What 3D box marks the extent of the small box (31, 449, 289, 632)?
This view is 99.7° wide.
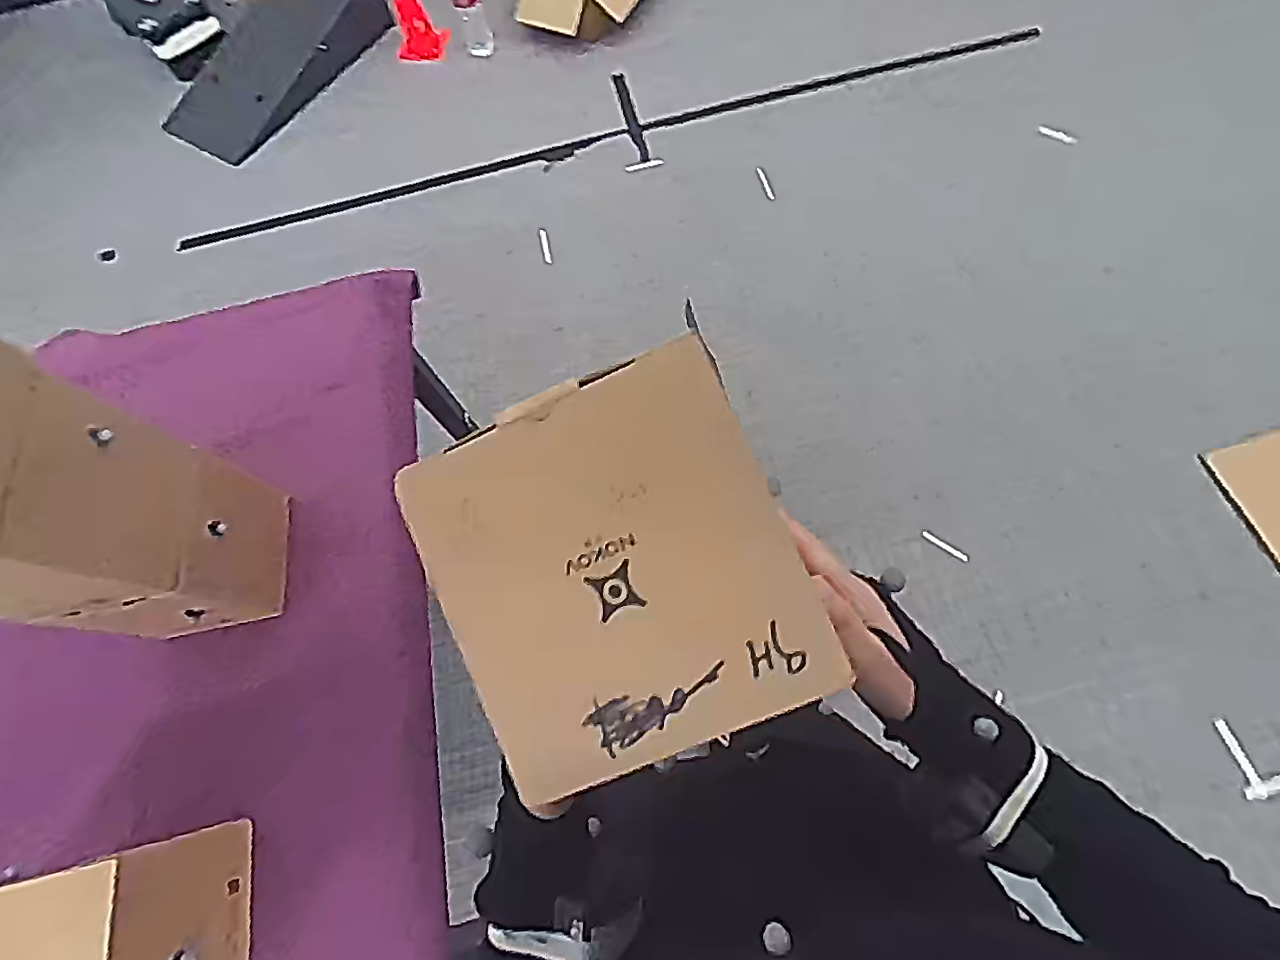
[{"bbox_3d":[-0.573,0.087,0.675,0.168,0.176,0.179,-12,67,0],"label":"small box"}]

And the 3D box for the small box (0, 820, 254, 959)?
[{"bbox_3d":[-0.516,0.457,0.525,0.179,0.176,0.168,-15,68,0],"label":"small box"}]

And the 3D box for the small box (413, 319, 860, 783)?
[{"bbox_3d":[0.003,0.037,0.332,0.168,0.176,0.179,-24,85,8],"label":"small box"}]
